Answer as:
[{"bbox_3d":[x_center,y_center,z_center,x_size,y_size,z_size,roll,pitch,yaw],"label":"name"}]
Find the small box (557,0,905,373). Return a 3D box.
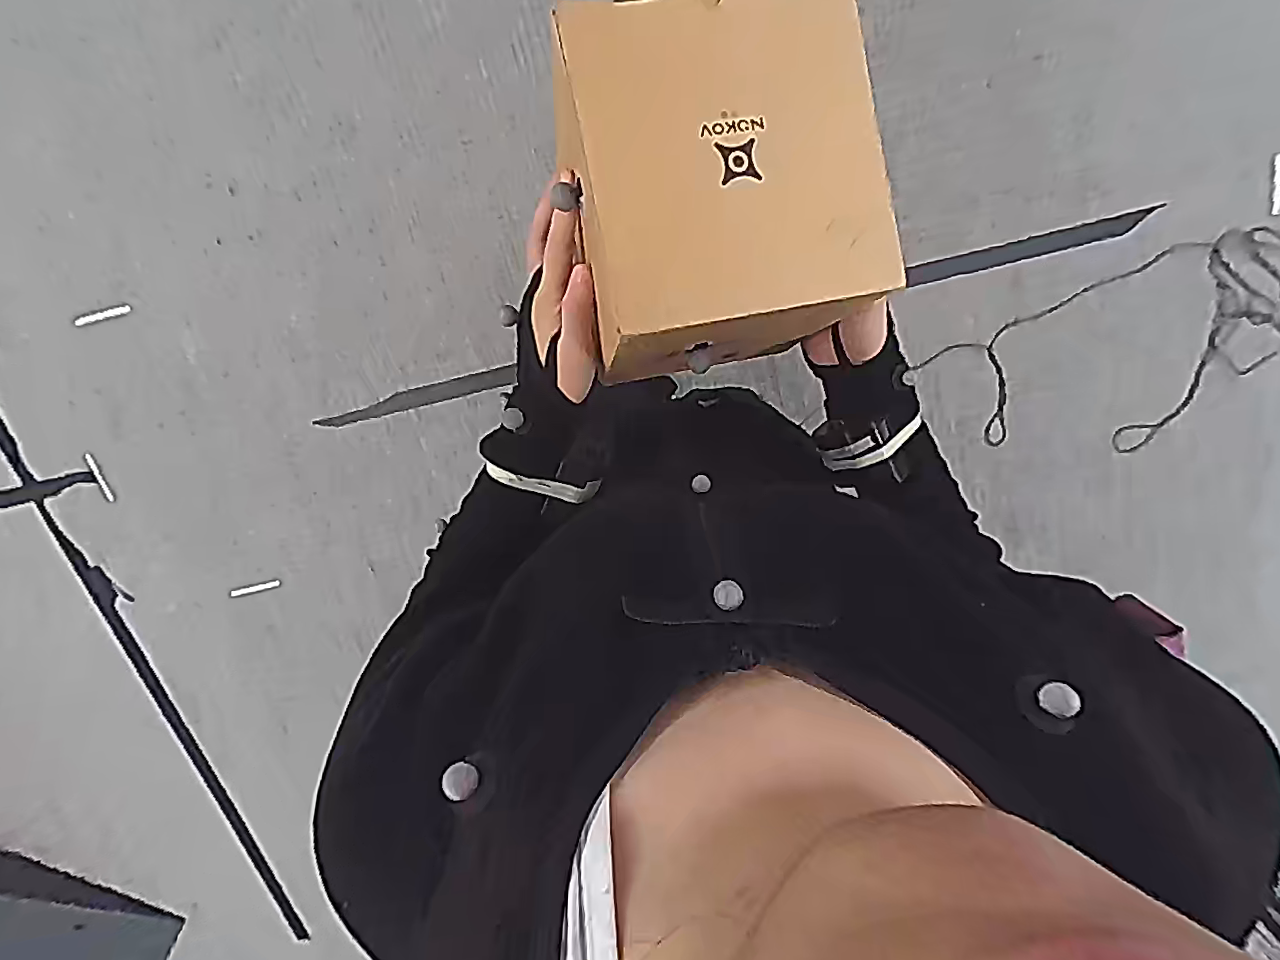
[{"bbox_3d":[0.044,-0.178,0.368,0.168,0.176,0.179,-12,91,-7],"label":"small box"}]

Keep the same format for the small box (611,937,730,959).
[{"bbox_3d":[0.052,0.743,0.694,0.168,0.176,0.179,-9,106,1],"label":"small box"}]
